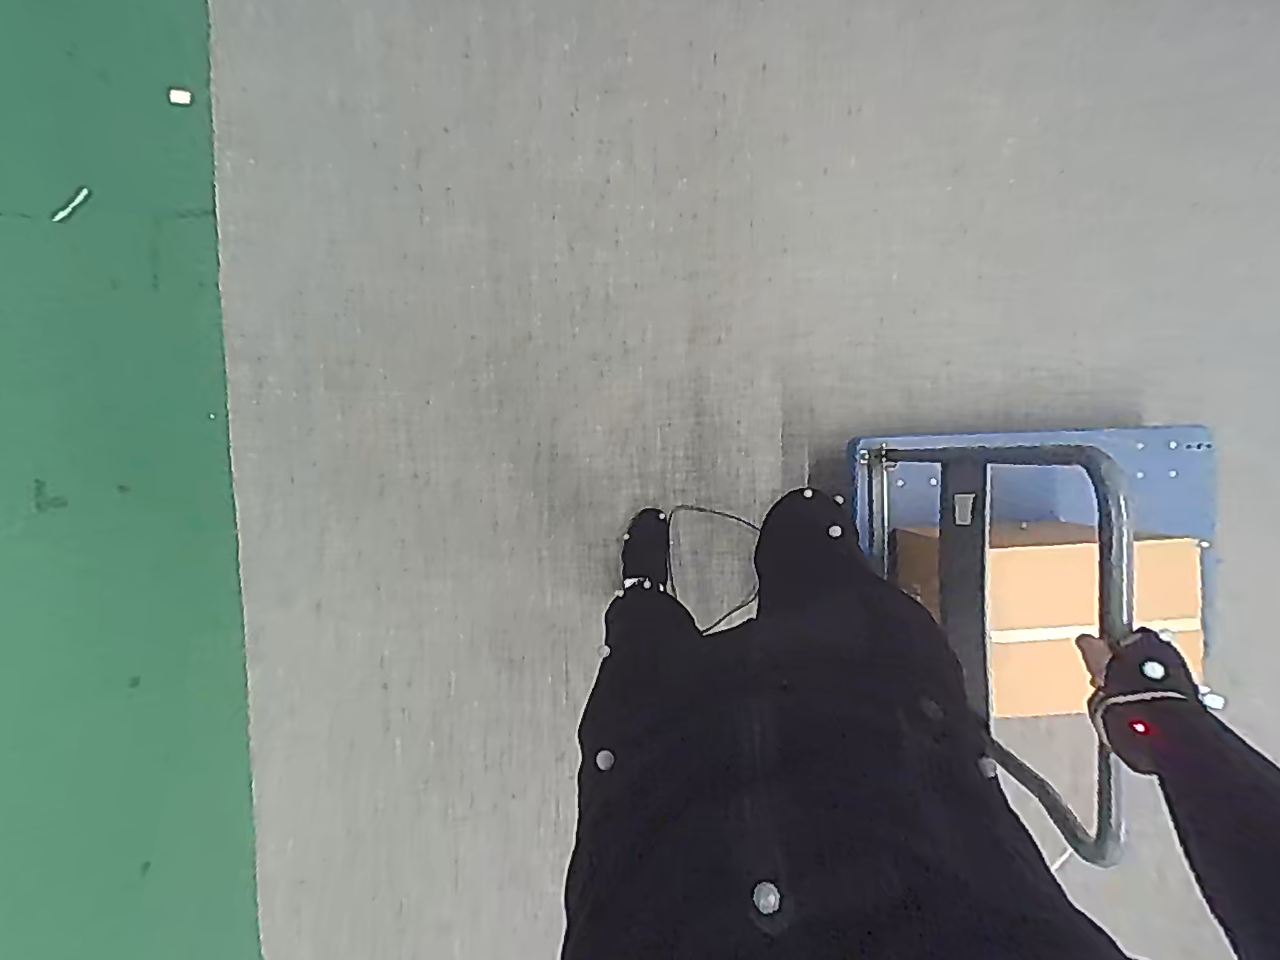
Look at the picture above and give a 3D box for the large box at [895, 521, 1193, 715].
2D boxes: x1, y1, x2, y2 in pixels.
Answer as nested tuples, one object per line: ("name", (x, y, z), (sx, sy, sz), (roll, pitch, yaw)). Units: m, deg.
("large box", (0.814, 0.262, 1.141), (0.408, 0.320, 0.320), (-3, 93, -3))
